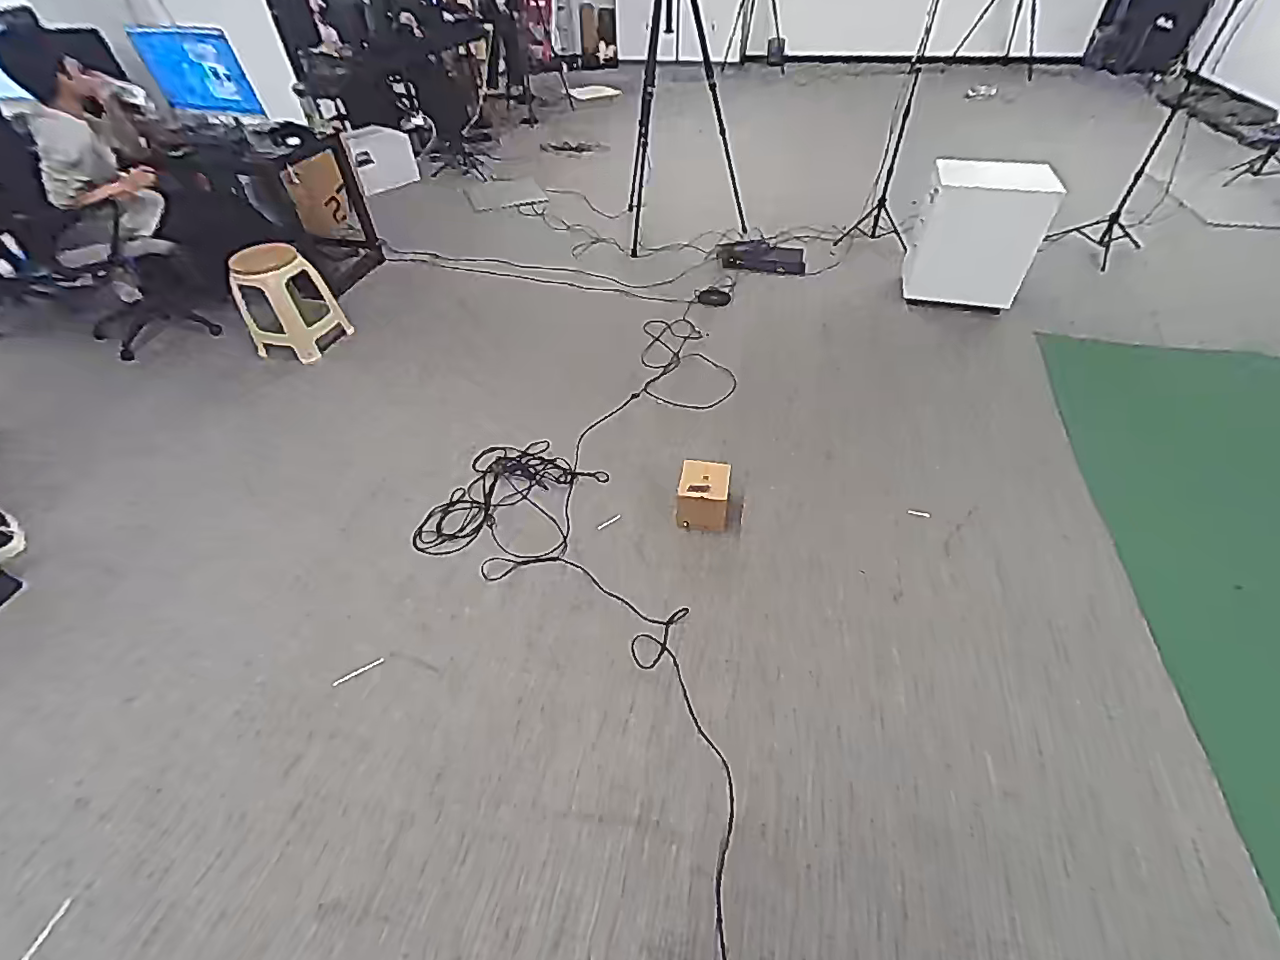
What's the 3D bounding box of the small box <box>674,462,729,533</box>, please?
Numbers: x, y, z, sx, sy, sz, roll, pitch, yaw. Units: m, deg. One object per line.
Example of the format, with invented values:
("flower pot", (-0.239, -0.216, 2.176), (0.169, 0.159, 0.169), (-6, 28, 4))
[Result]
("small box", (0.214, 0.065, 1.882), (0.168, 0.176, 0.179), (8, 46, 9))
